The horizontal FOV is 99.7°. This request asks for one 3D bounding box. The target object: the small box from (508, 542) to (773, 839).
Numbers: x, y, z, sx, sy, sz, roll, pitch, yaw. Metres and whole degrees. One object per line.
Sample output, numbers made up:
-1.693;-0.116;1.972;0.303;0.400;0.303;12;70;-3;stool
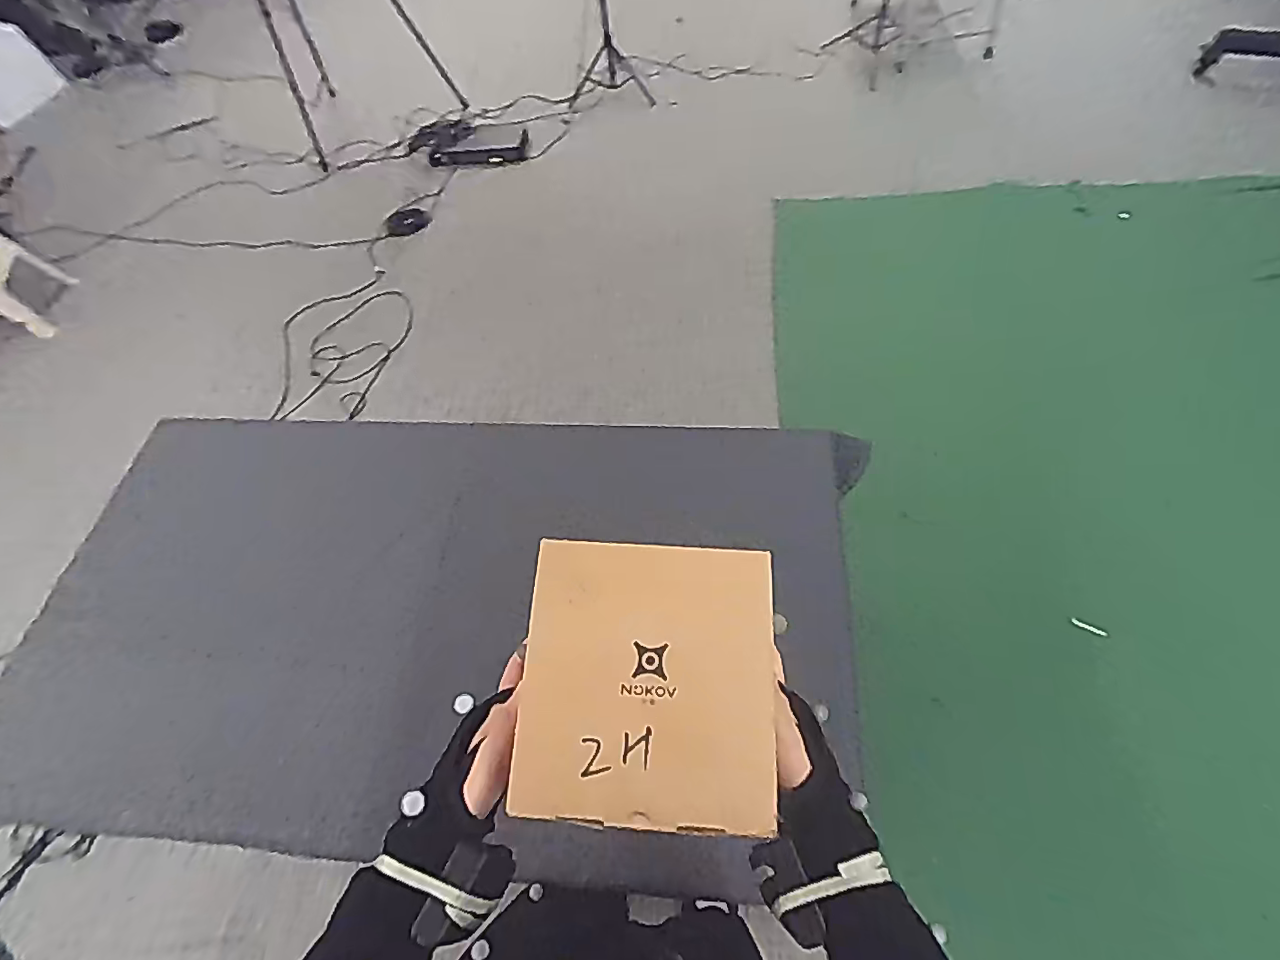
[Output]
0.008;0.160;0.433;0.168;0.176;0.179;3;69;4;small box
